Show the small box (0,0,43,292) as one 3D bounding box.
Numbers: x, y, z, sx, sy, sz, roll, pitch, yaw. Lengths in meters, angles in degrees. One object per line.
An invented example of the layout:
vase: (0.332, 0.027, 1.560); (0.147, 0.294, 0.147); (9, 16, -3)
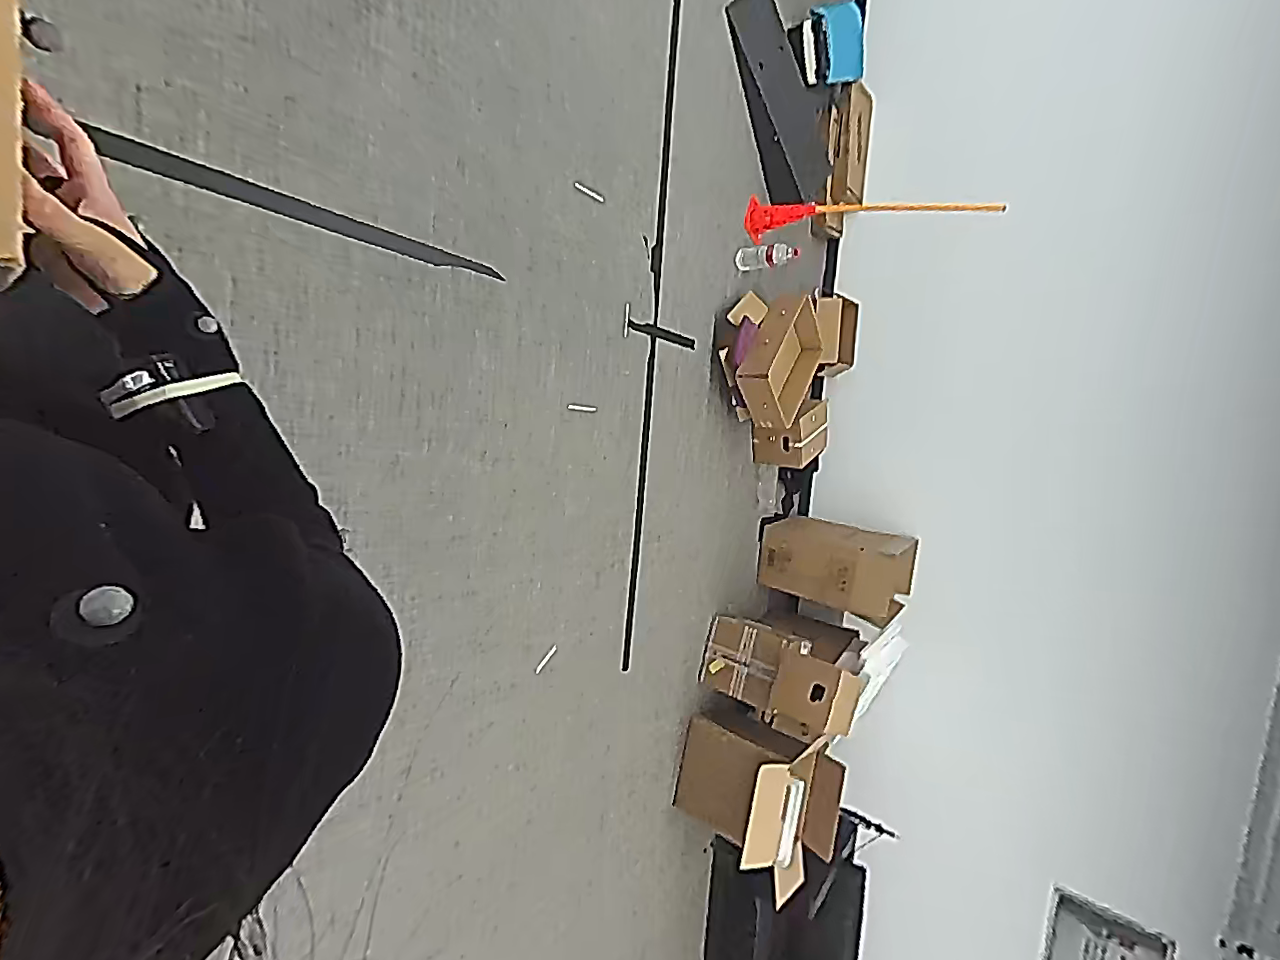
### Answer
small box: (-0.408, -0.198, 0.249); (0.168, 0.176, 0.179); (-1, 99, -52)
